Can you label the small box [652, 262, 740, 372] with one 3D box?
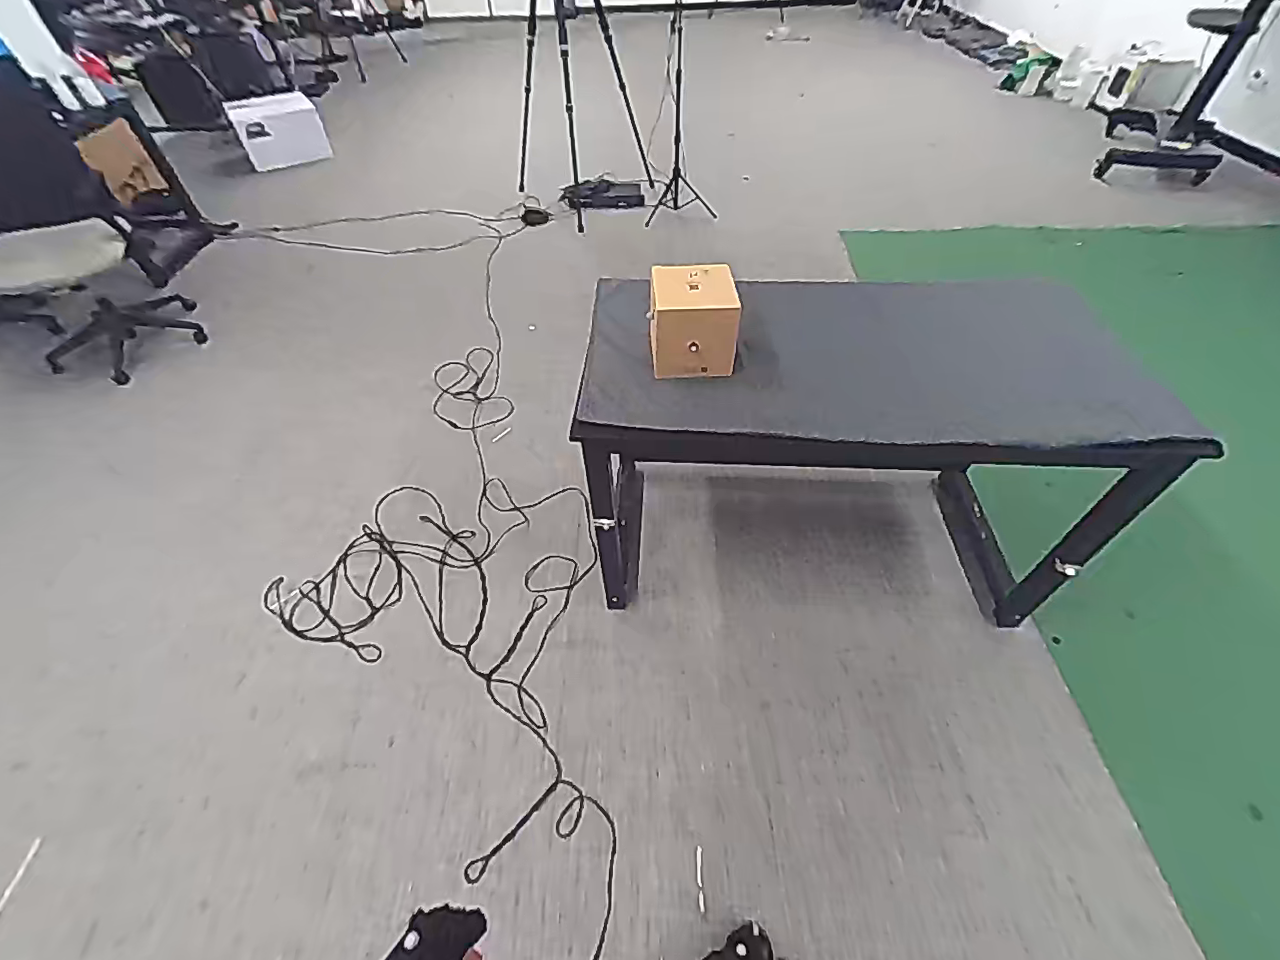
[{"bbox_3d":[0.111,-0.342,1.150,0.168,0.176,0.179,-2,48,-2],"label":"small box"}]
